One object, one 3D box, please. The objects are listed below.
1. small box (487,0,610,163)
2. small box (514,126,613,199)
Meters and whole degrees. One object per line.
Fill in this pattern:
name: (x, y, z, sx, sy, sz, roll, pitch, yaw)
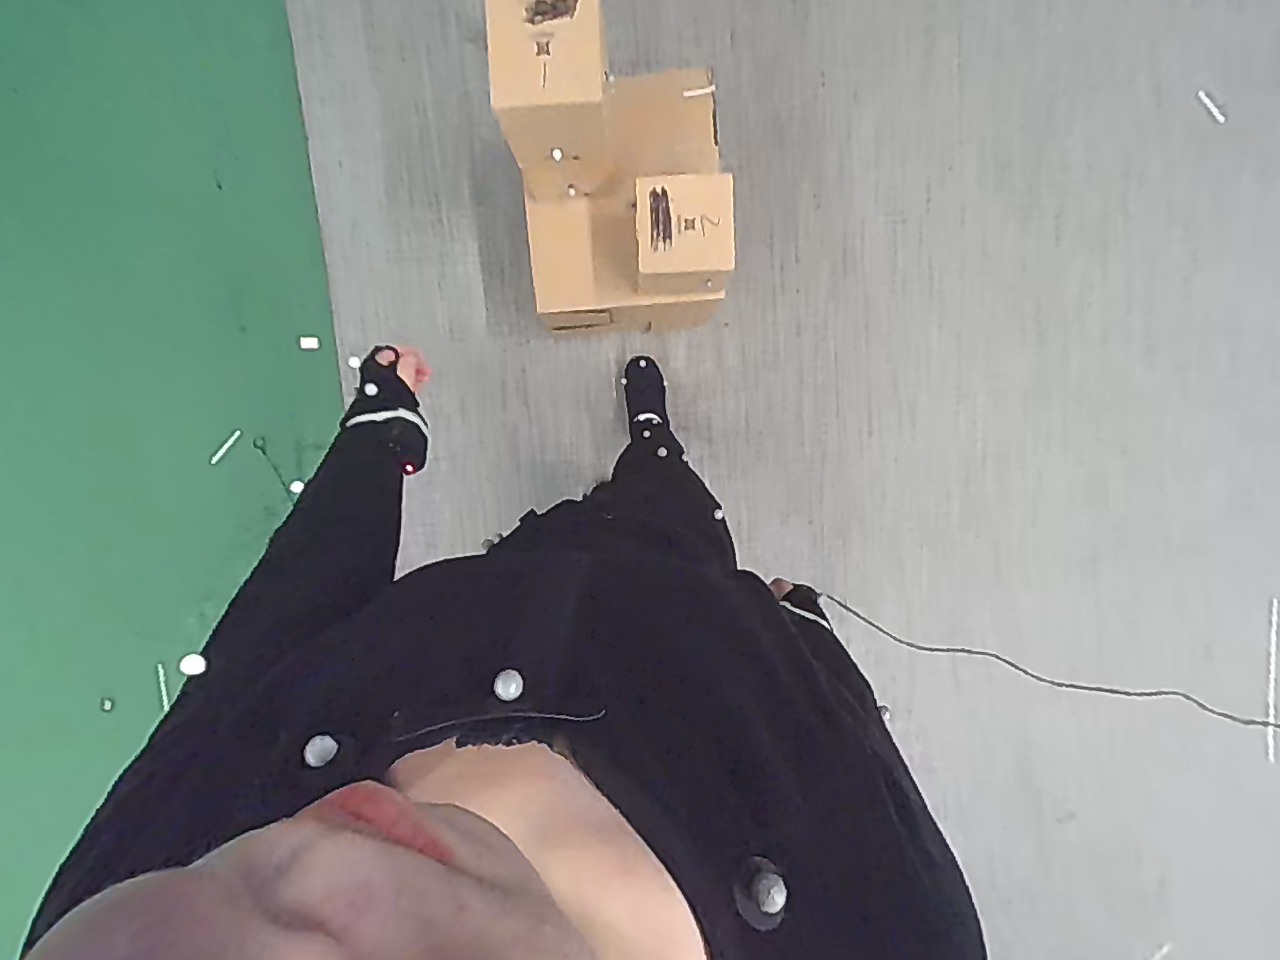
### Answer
small box: (-0.138, -0.638, 0.860, 0.168, 0.176, 0.179, -2, 94, 1)
small box: (-0.143, -0.663, 1.024, 0.168, 0.176, 0.179, -4, 93, 2)
